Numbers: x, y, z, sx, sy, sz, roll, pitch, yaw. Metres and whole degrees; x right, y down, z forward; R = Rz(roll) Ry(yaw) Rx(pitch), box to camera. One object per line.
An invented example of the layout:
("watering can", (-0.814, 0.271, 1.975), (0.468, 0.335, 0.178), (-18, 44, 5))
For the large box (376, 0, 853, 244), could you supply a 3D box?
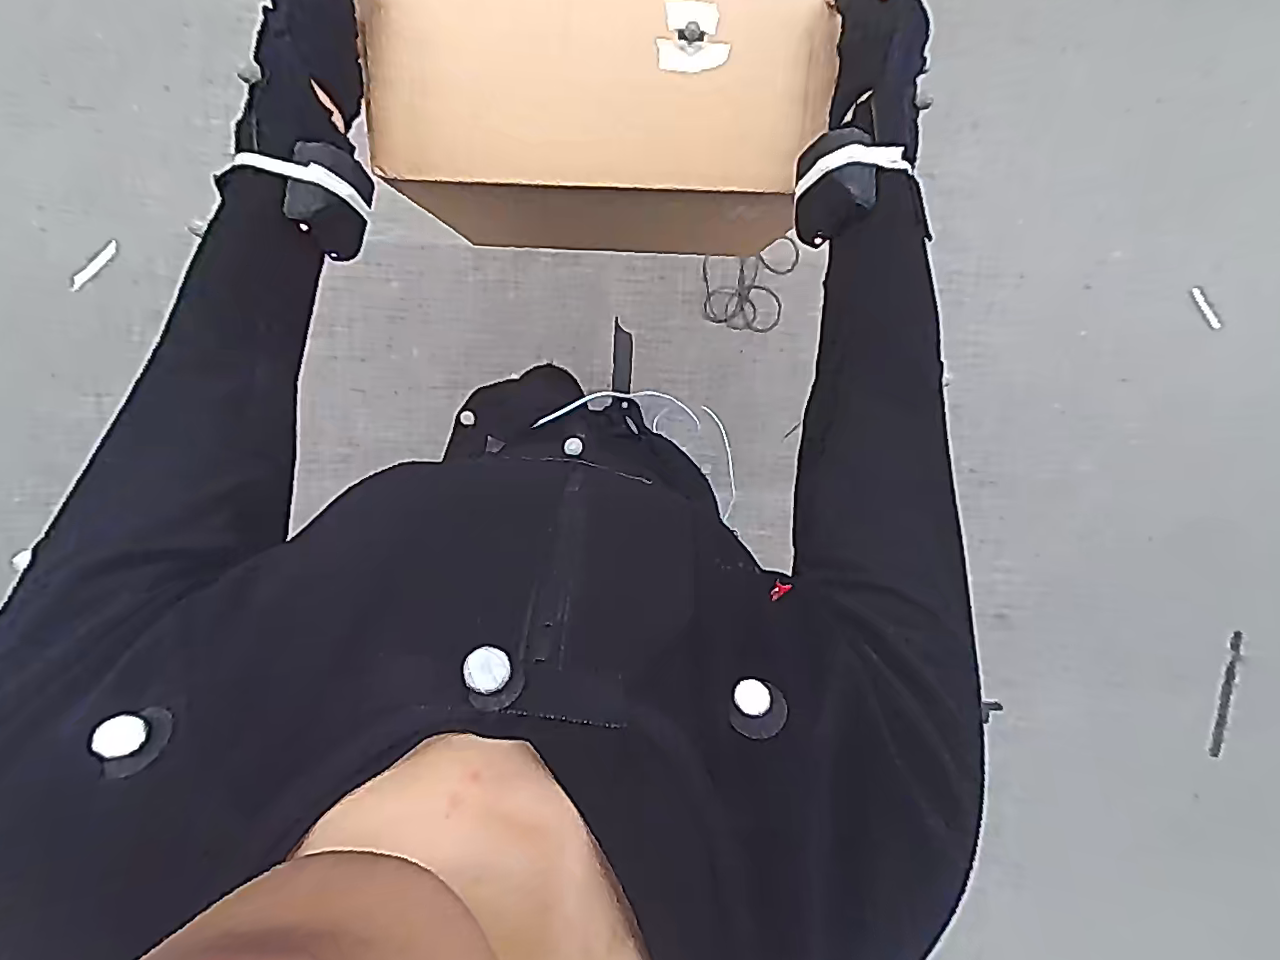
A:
("large box", (-0.024, -0.452, 0.587), (0.408, 0.320, 0.320), (1, 104, -2))
